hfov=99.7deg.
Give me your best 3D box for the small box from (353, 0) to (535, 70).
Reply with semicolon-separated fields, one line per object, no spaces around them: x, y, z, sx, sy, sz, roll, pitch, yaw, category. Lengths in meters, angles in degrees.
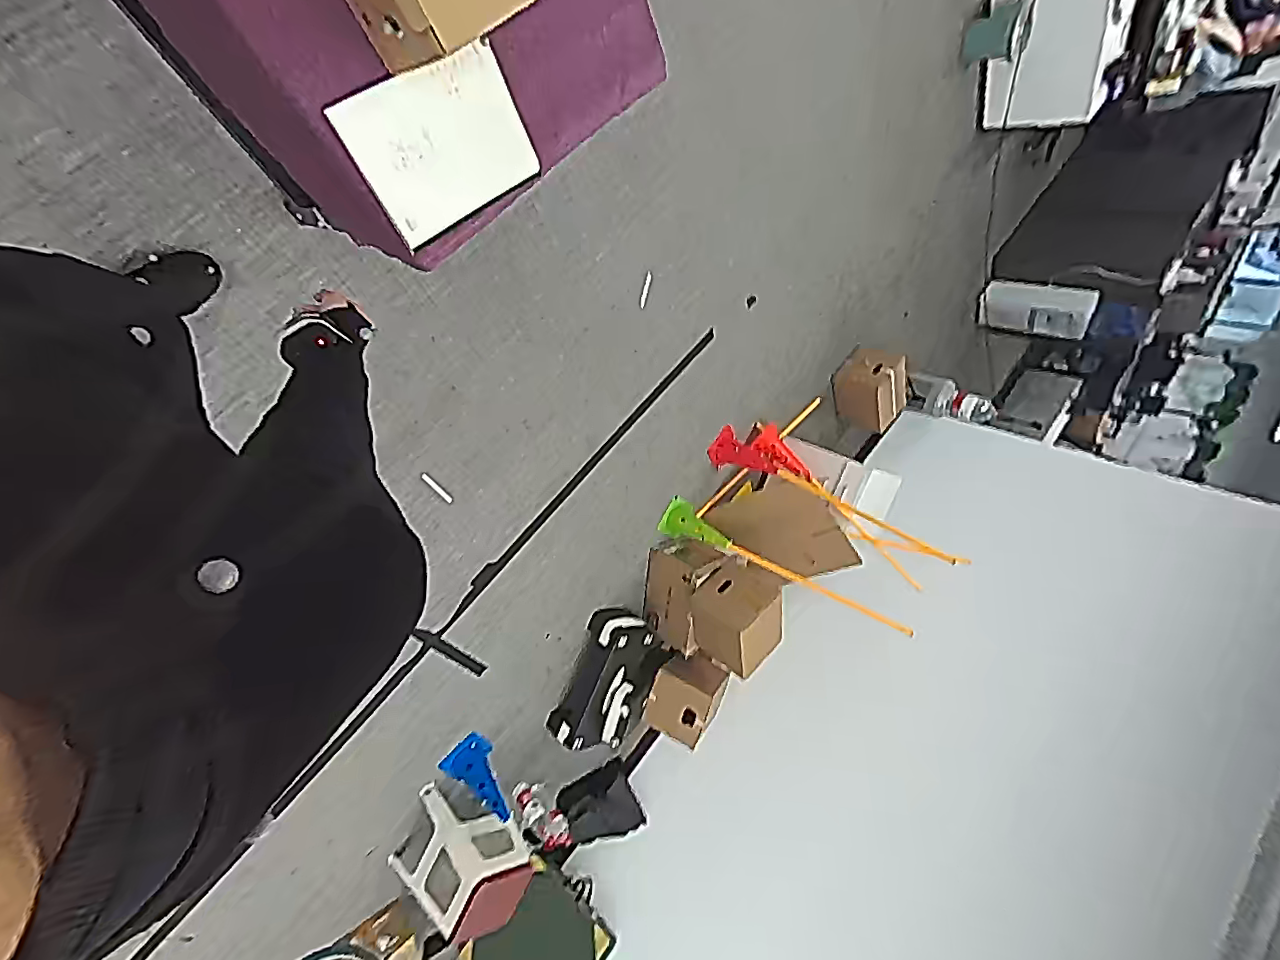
-0.252;-0.622;0.639;0.179;0.176;0.168;-48;138;-17;small box
